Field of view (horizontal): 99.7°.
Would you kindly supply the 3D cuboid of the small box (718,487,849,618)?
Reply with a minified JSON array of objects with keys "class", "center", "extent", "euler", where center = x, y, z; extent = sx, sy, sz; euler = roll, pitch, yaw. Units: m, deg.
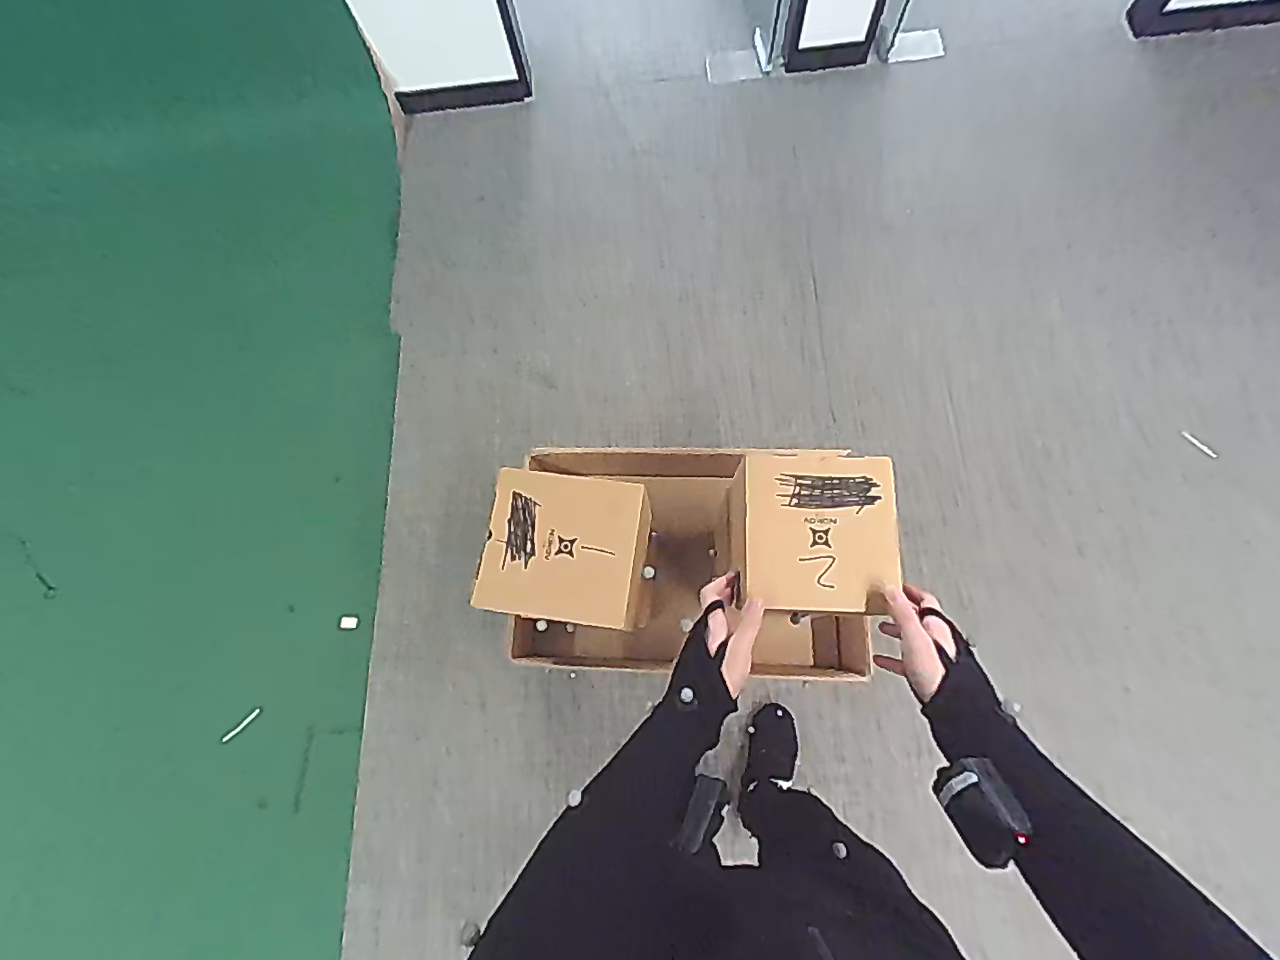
[{"class":"small box","center":[0.210,0.117,0.826],"extent":[0.168,0.176,0.179],"euler":[2,74,4]}]

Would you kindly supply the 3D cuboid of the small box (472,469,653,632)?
[{"class":"small box","center":[-0.084,0.097,0.685],"extent":[0.179,0.176,0.168],"euler":[8,75,5]}]
